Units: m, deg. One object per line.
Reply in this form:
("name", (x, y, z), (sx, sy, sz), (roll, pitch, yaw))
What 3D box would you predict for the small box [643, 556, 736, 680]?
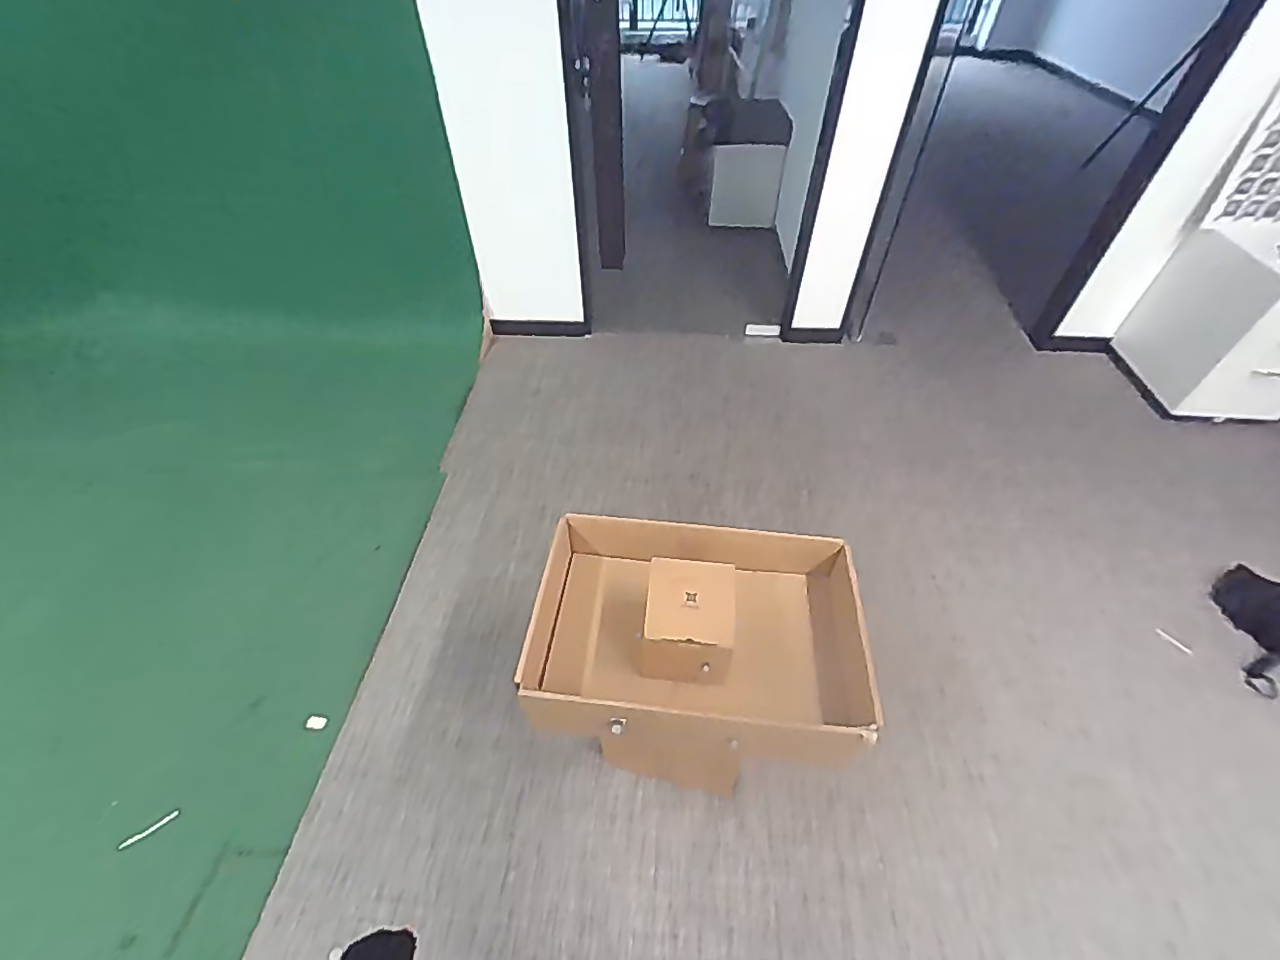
("small box", (0.095, 0.276, 1.068), (0.168, 0.176, 0.179), (5, 45, 2))
